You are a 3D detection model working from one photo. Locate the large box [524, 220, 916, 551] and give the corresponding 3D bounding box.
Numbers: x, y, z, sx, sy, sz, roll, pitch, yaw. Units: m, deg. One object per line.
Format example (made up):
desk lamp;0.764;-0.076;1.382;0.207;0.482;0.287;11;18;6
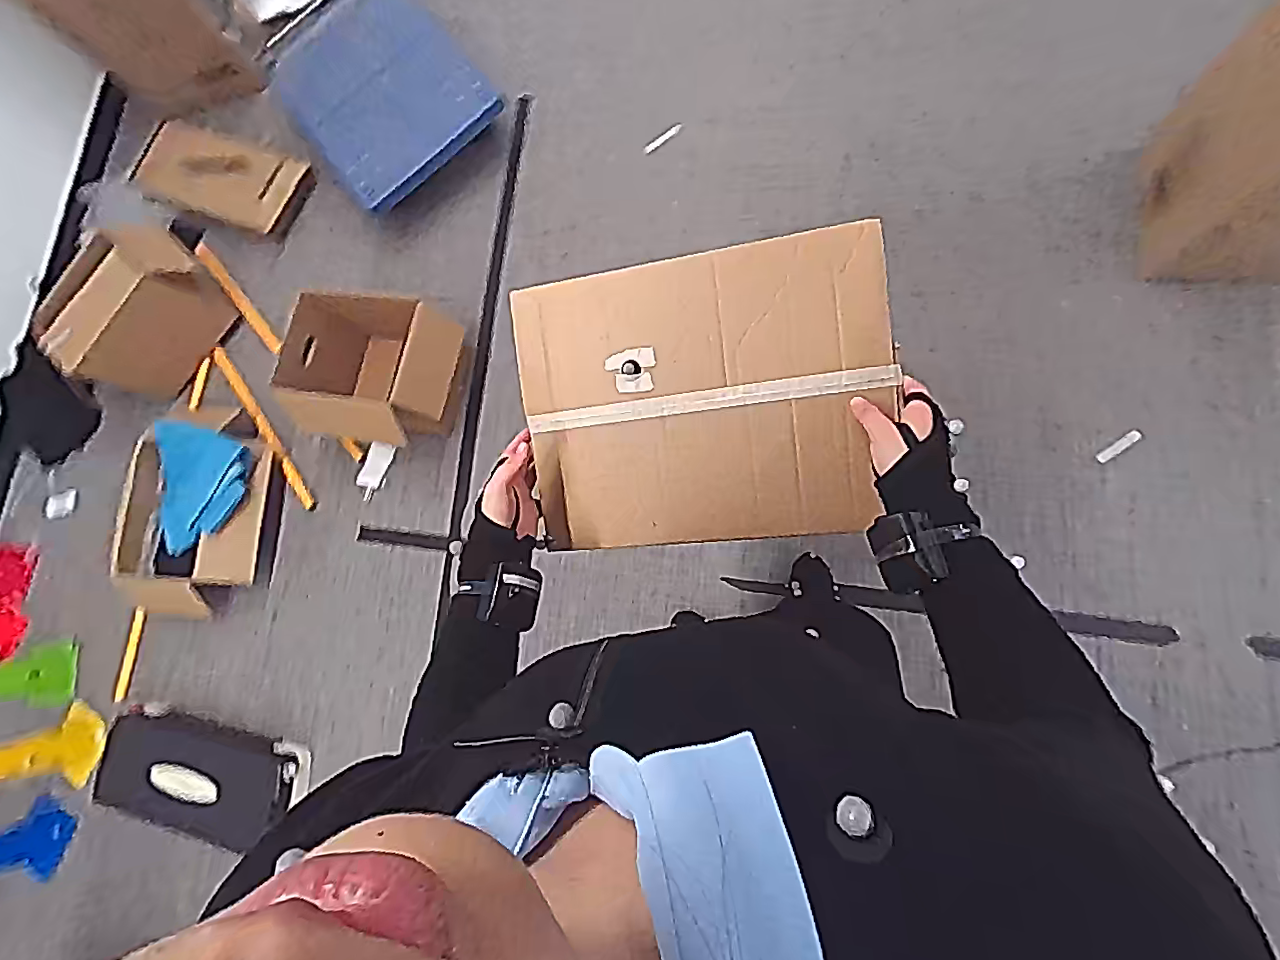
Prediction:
large box;0.112;-0.102;0.728;0.408;0.320;0.320;-5;95;16
